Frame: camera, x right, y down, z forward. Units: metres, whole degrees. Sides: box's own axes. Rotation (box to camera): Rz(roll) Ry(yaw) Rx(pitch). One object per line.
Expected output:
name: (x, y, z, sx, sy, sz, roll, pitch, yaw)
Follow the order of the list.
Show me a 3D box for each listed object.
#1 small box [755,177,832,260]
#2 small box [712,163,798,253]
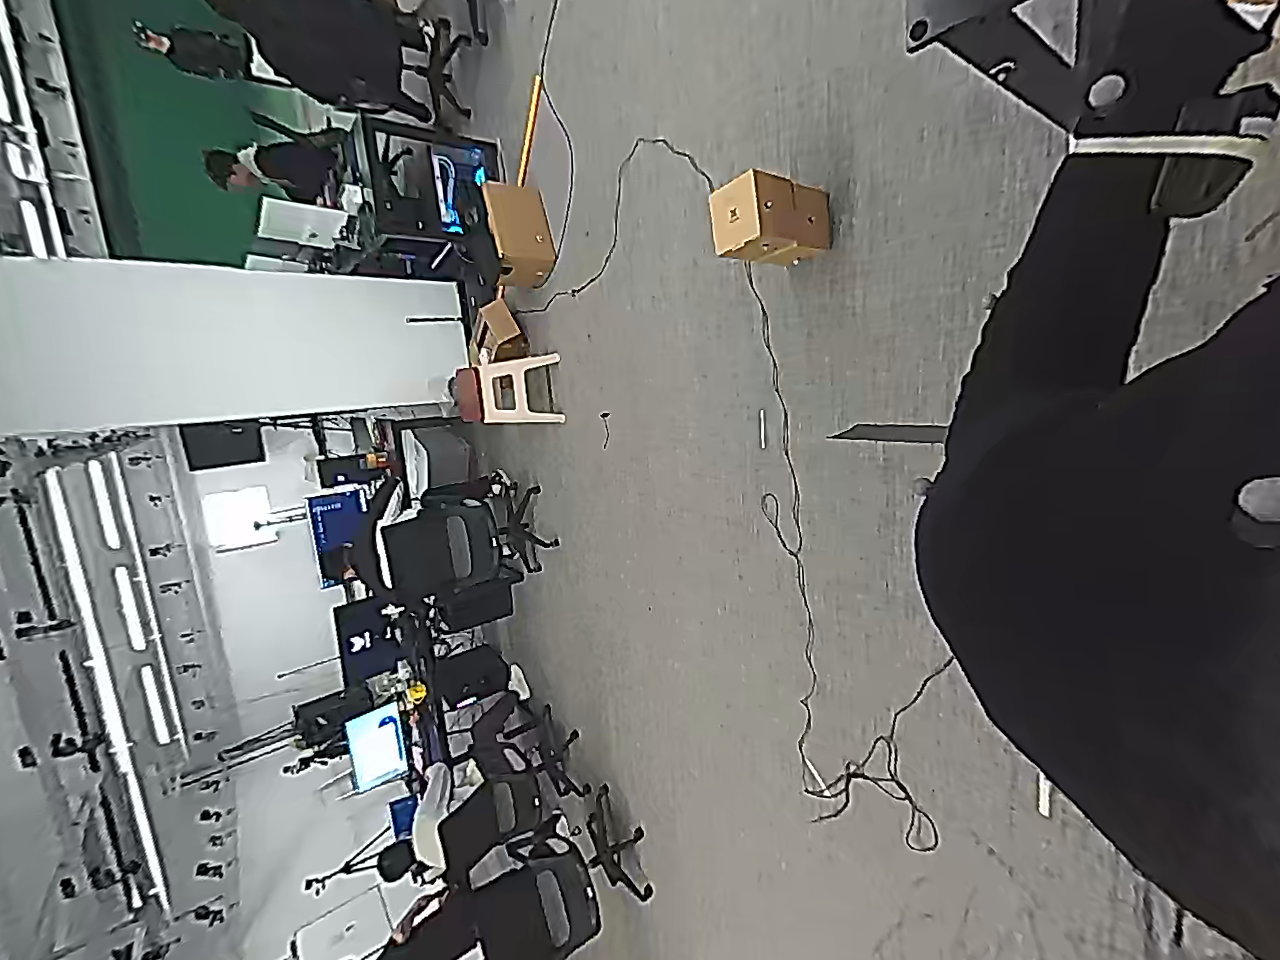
small box: (0.458, -0.777, 1.624, 0.168, 0.176, 0.179, 4, 103, 53)
small box: (0.328, -0.756, 1.529, 0.168, 0.176, 0.179, -2, 97, 52)
